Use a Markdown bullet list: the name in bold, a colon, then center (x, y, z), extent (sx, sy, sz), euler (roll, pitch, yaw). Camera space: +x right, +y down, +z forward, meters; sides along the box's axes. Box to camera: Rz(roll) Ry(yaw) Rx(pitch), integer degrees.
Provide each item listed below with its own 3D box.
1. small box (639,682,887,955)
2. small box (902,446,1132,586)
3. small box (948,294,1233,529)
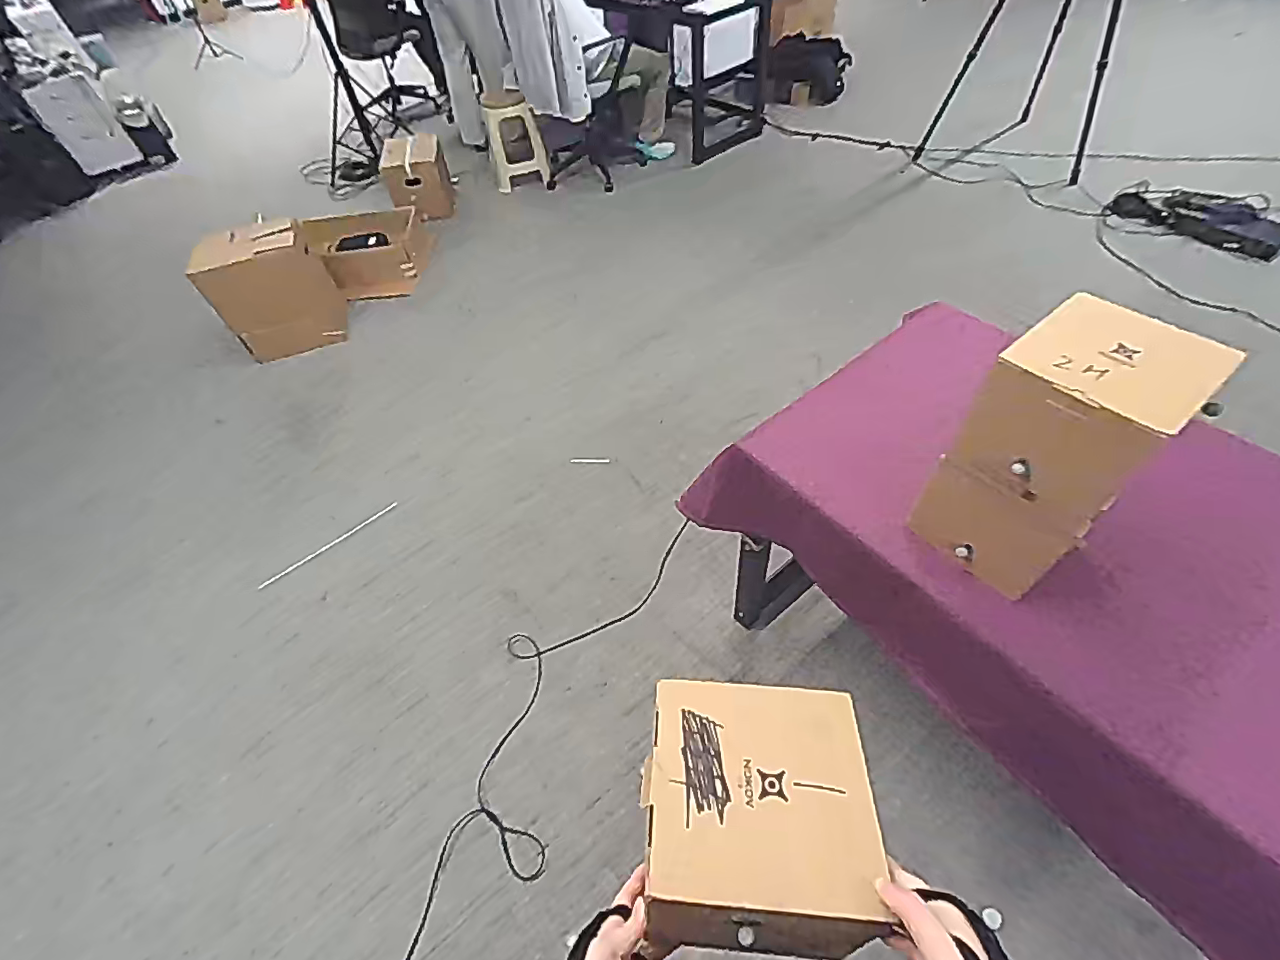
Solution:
- **small box**: center (0.092, 0.305, 0.490), extent (0.179, 0.176, 0.168), euler (3, 42, 3)
- **small box**: center (0.511, 0.025, 0.760), extent (0.168, 0.176, 0.179), euler (-35, 57, -21)
- **small box**: center (0.502, -0.079, 0.632), extent (0.179, 0.176, 0.168), euler (-34, 56, -19)
